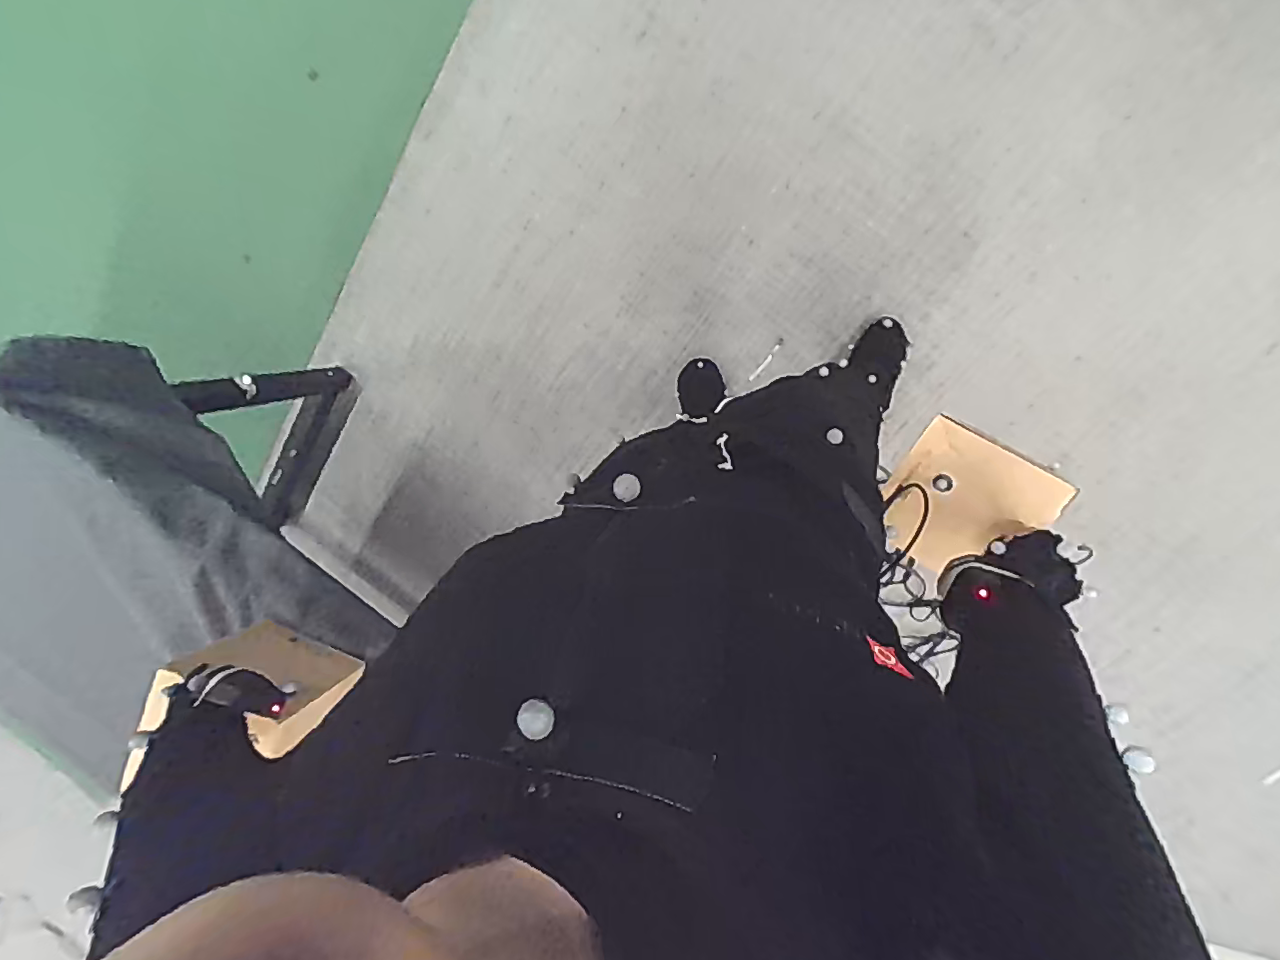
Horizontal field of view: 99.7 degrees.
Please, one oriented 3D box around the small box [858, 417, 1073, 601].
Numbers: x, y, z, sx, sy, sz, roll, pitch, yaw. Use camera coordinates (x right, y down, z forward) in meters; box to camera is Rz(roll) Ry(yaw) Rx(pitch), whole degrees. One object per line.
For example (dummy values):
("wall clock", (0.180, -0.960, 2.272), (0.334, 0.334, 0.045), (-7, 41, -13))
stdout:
("small box", (0.424, 0.027, 0.723), (0.176, 0.179, 0.168), (40, 115, 24))
